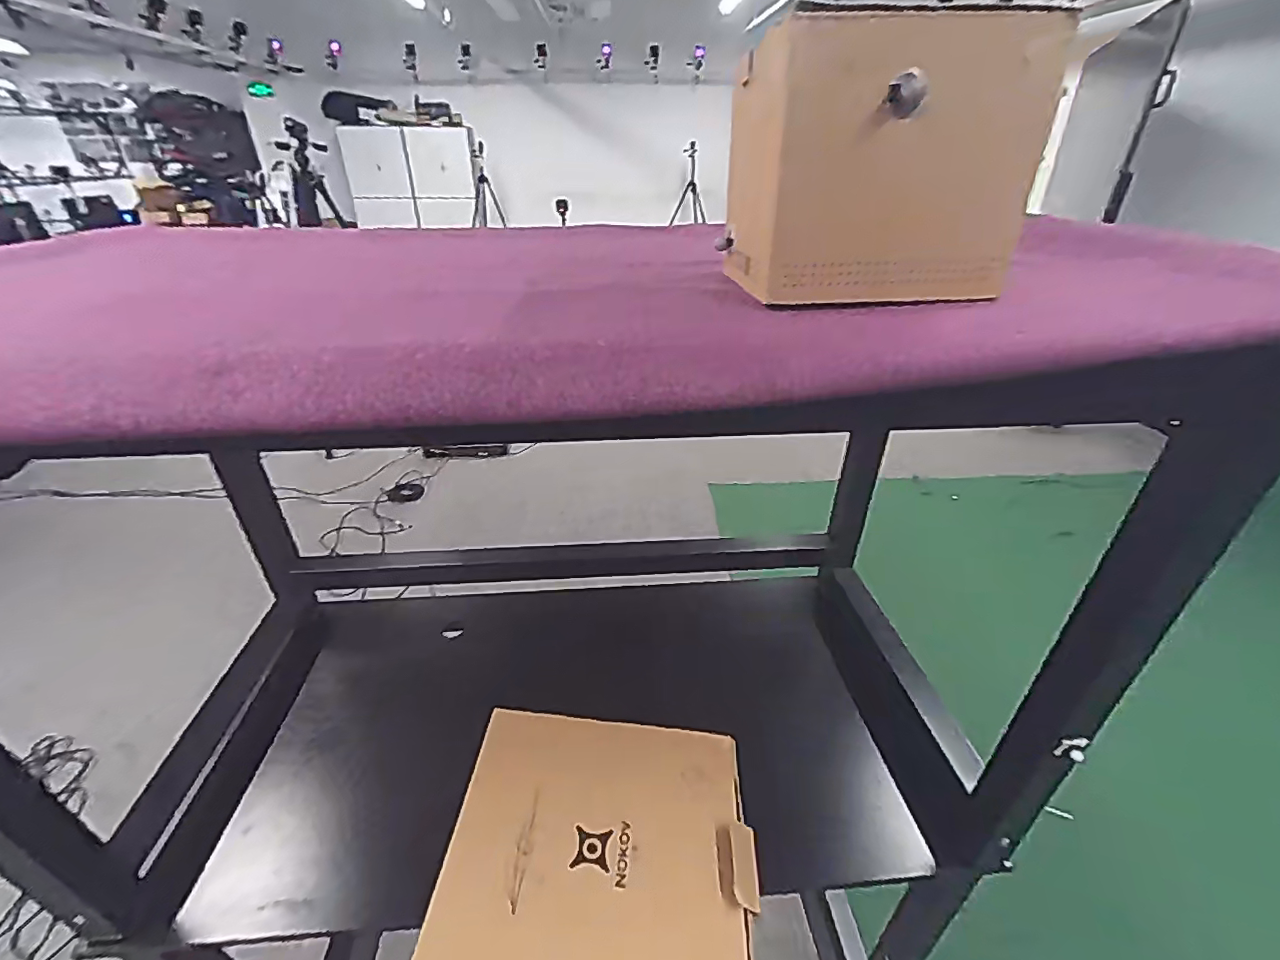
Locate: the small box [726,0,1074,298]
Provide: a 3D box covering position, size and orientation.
[{"bbox_3d":[0.165,-0.241,0.415,0.179,0.176,0.168,-2,30,-2],"label":"small box"}]
